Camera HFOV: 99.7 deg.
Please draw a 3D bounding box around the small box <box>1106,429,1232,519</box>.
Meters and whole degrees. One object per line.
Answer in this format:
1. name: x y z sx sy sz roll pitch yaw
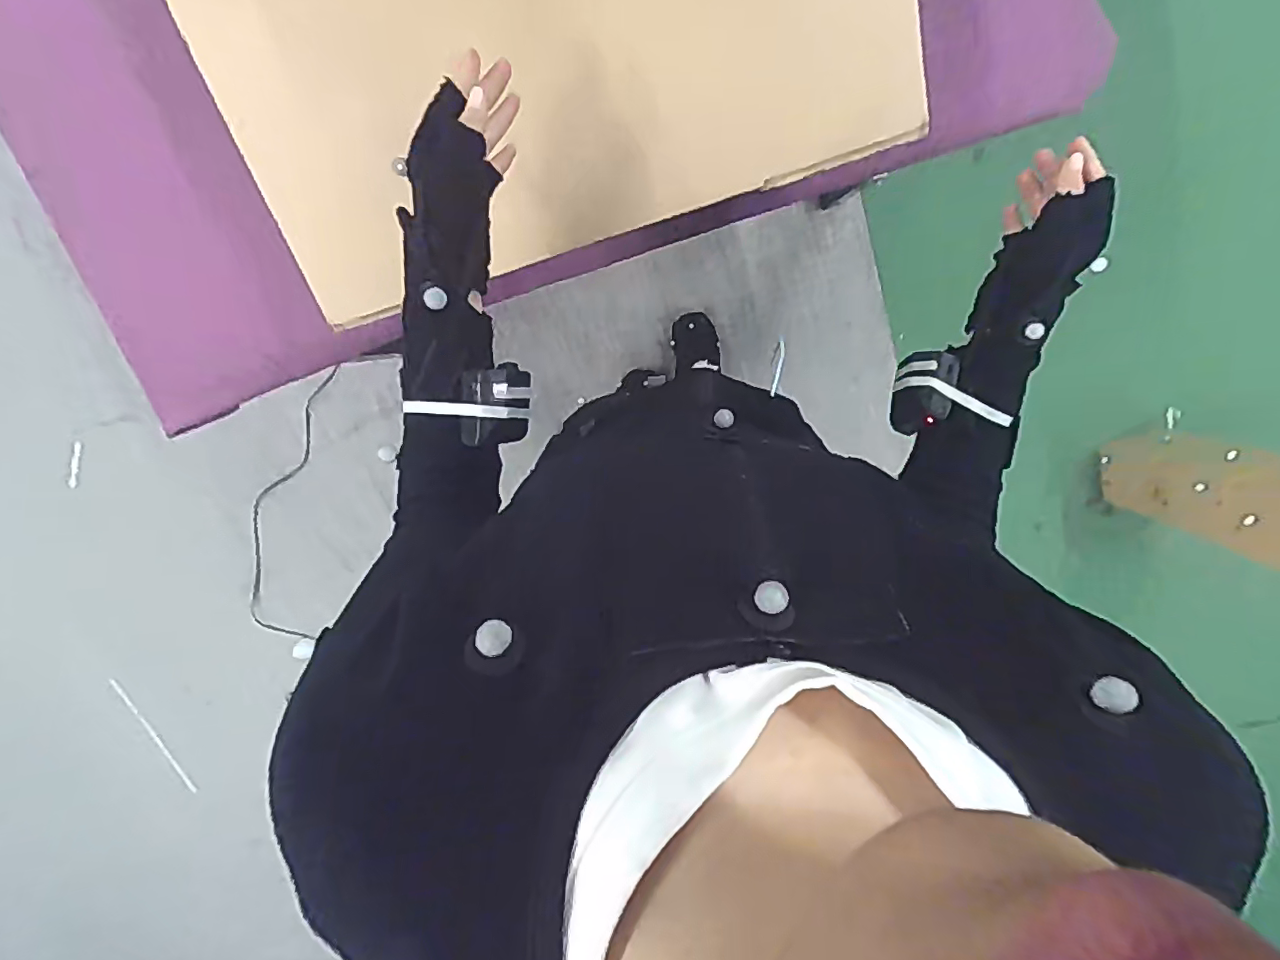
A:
1. small box: 1.348 -0.021 1.390 0.179 0.176 0.168 -17 105 5
